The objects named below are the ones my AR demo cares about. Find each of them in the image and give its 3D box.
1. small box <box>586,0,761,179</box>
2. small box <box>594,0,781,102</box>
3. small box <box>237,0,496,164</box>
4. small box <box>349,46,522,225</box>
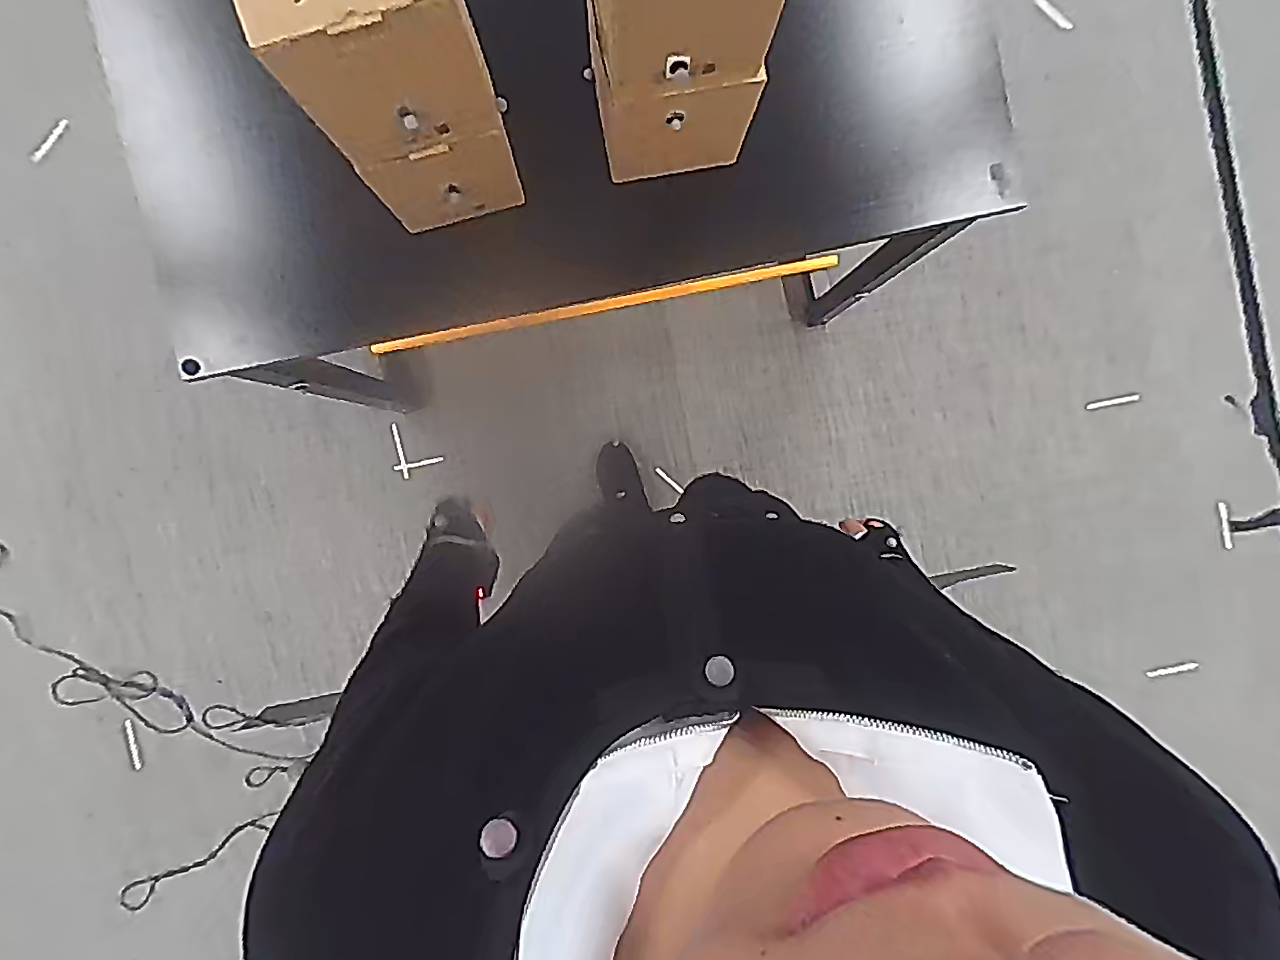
[{"bbox_3d":[0.034,-0.507,0.676,0.179,0.176,0.168,-11,92,-2],"label":"small box"},{"bbox_3d":[0.035,-0.512,0.514,0.168,0.176,0.179,-12,93,0],"label":"small box"},{"bbox_3d":[-0.253,-0.442,0.504,0.168,0.176,0.179,-18,92,-1],"label":"small box"},{"bbox_3d":[-0.258,-0.442,0.670,0.168,0.176,0.179,-17,92,-1],"label":"small box"}]
